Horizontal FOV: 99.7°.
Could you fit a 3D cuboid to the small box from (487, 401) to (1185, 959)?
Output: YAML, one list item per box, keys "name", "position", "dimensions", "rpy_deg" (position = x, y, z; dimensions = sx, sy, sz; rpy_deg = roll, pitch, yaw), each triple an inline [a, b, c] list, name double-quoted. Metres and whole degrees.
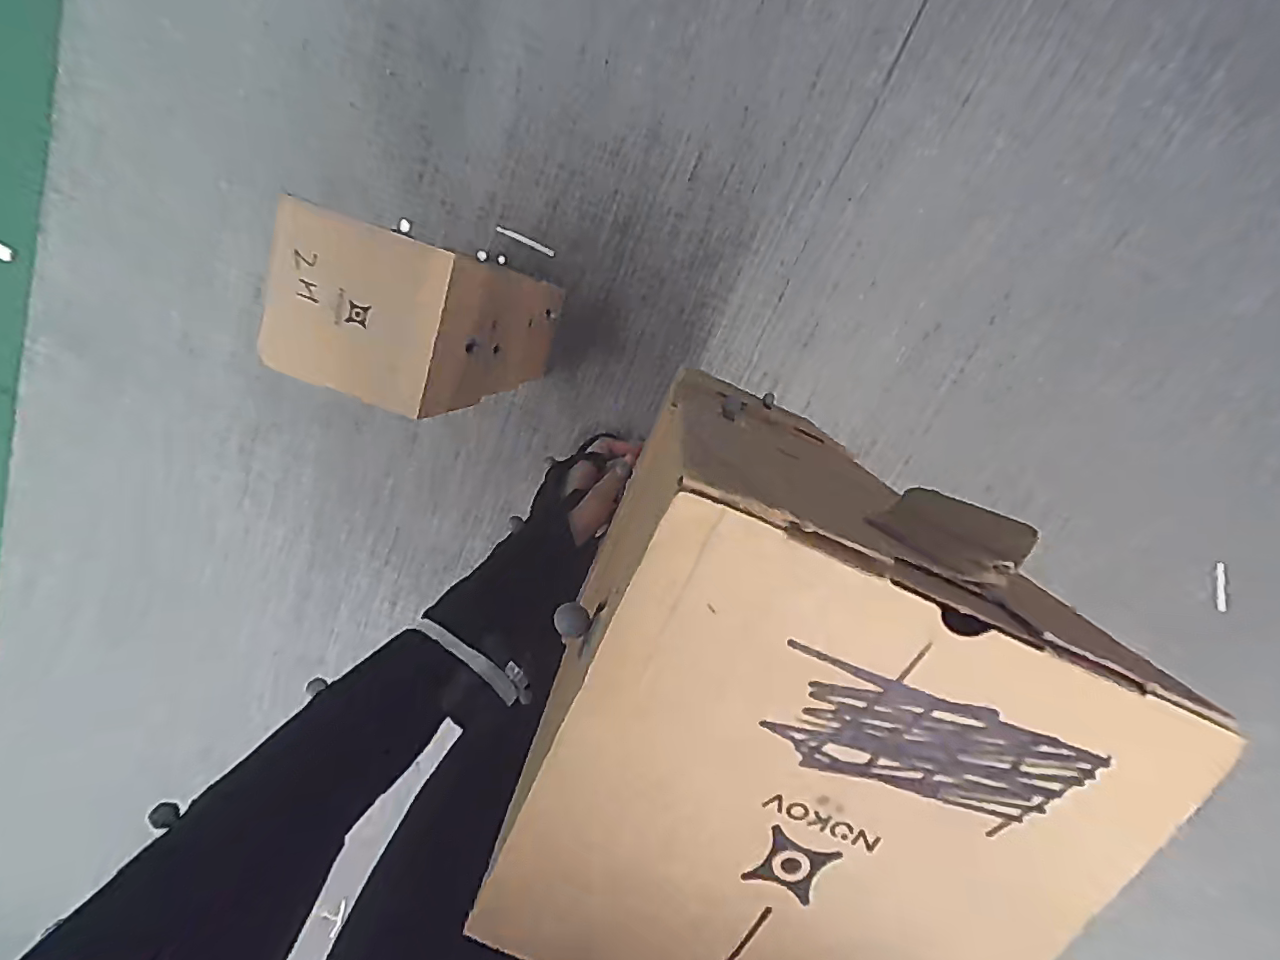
- name: "small box"
  position: [0.057, 0.076, 0.252]
  dimensions: [0.168, 0.176, 0.179]
  rpy_deg: [24, 106, -1]

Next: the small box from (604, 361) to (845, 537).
- name: "small box"
  position: [0.080, -0.011, 0.569]
  dimensions: [0.168, 0.176, 0.179]
  rpy_deg: [24, 105, -2]

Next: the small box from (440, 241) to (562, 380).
- name: "small box"
  position: [-0.248, -0.281, 0.913]
  dimensions: [0.179, 0.176, 0.168]
  rpy_deg: [20, 105, 1]

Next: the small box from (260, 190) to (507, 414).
- name: "small box"
  position: [-0.267, -0.188, 0.598]
  dimensions: [0.179, 0.176, 0.168]
  rpy_deg: [20, 105, 0]

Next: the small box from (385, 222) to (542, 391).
- name: "small box"
  position: [-0.259, -0.234, 0.757]
  dimensions: [0.179, 0.176, 0.168]
  rpy_deg: [19, 105, 0]
